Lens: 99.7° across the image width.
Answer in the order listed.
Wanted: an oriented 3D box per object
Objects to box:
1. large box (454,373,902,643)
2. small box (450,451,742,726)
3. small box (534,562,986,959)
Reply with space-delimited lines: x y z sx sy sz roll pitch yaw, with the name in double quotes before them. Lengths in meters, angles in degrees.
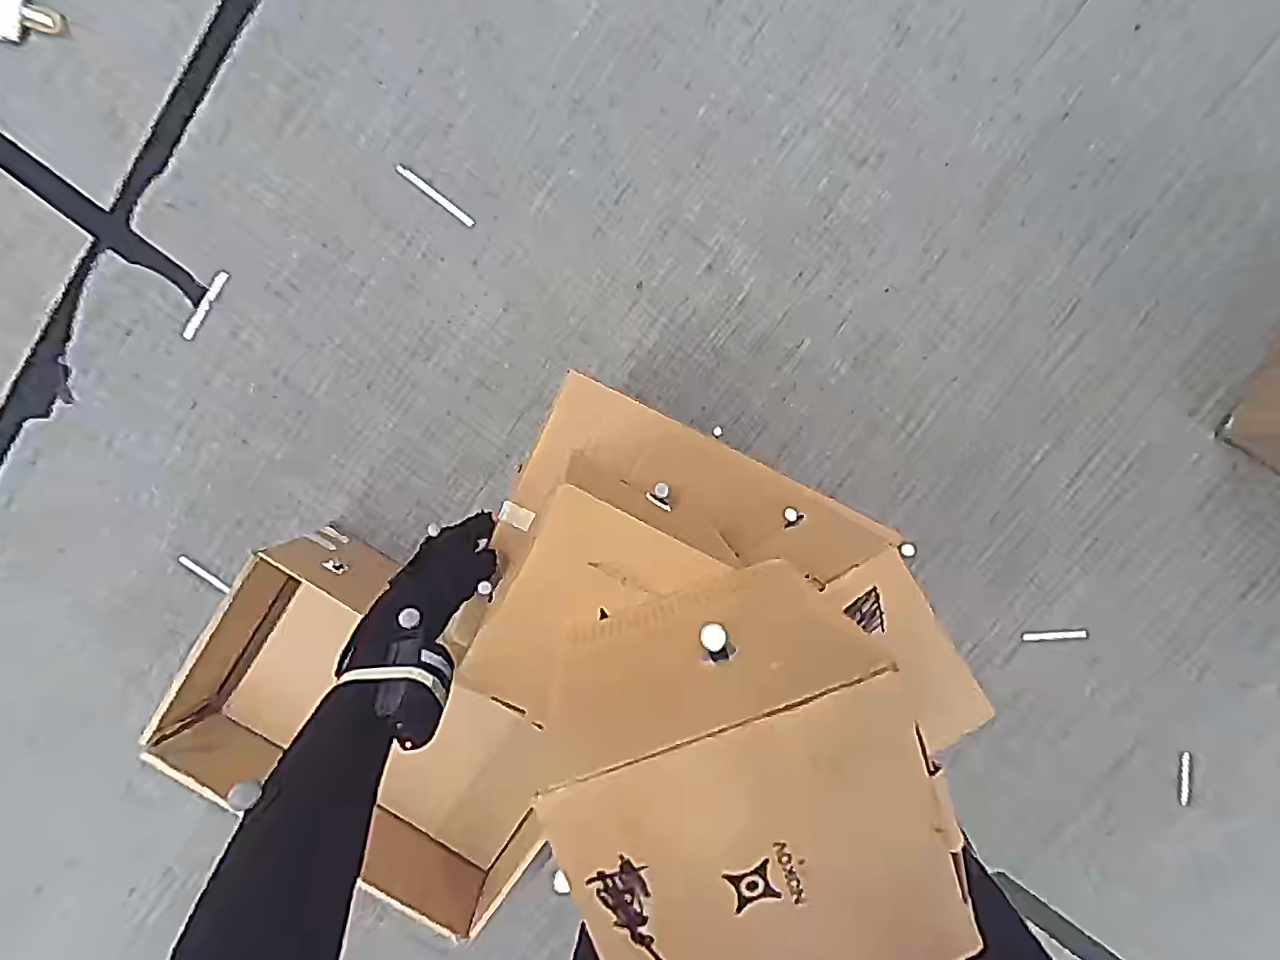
"large box" 0.030 0.080 0.720 0.408 0.320 0.320 24 99 -9
"small box" -0.035 0.093 0.471 0.168 0.176 0.179 27 97 -10
"small box" 0.053 0.167 0.322 0.179 0.176 0.168 -20 99 -1
